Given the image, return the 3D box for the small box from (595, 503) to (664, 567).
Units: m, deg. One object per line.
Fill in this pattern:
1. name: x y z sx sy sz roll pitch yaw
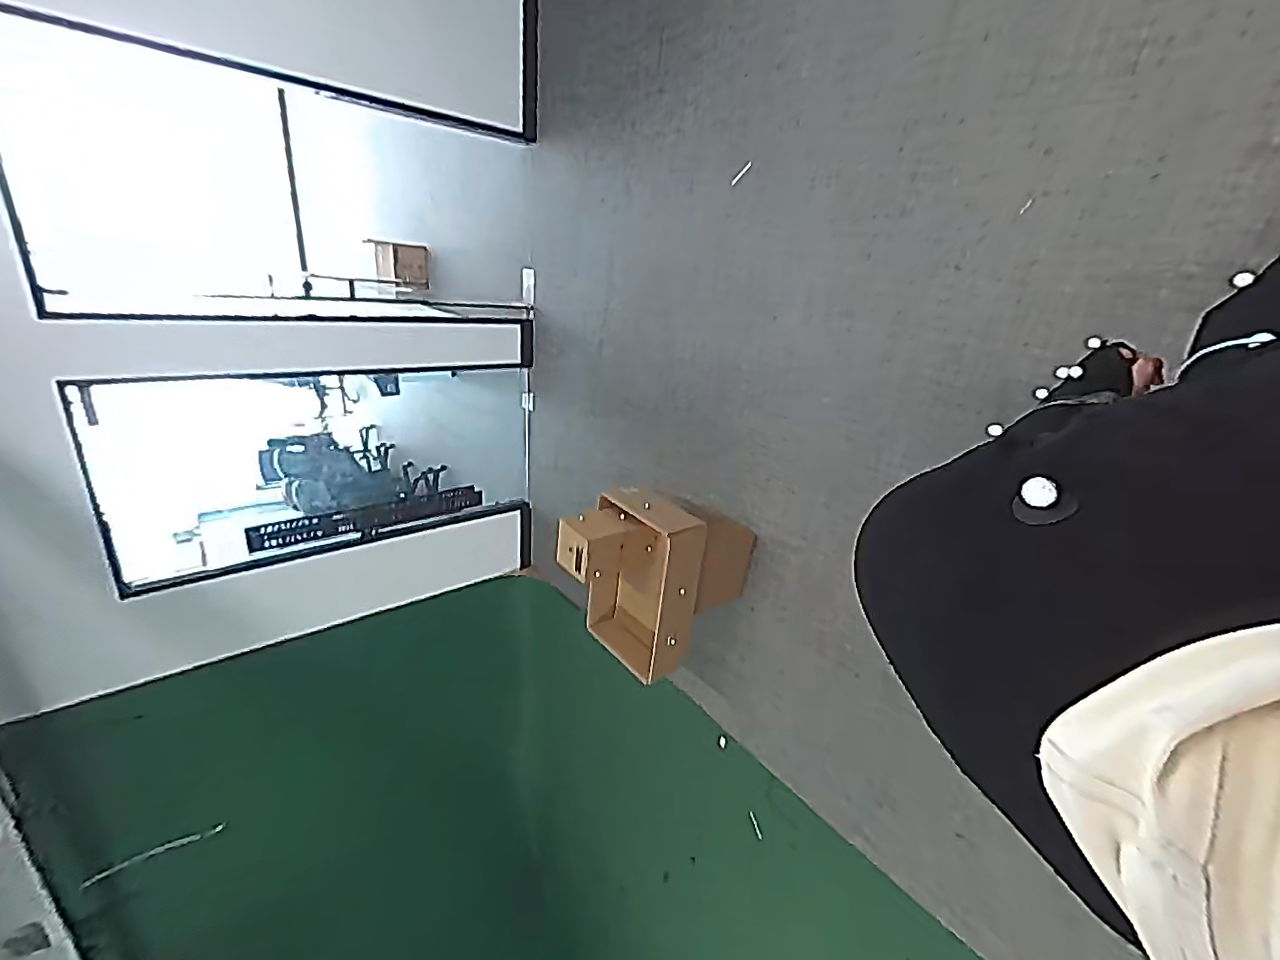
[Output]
1. small box: -0.039 0.193 1.980 0.179 0.176 0.168 29 120 43
